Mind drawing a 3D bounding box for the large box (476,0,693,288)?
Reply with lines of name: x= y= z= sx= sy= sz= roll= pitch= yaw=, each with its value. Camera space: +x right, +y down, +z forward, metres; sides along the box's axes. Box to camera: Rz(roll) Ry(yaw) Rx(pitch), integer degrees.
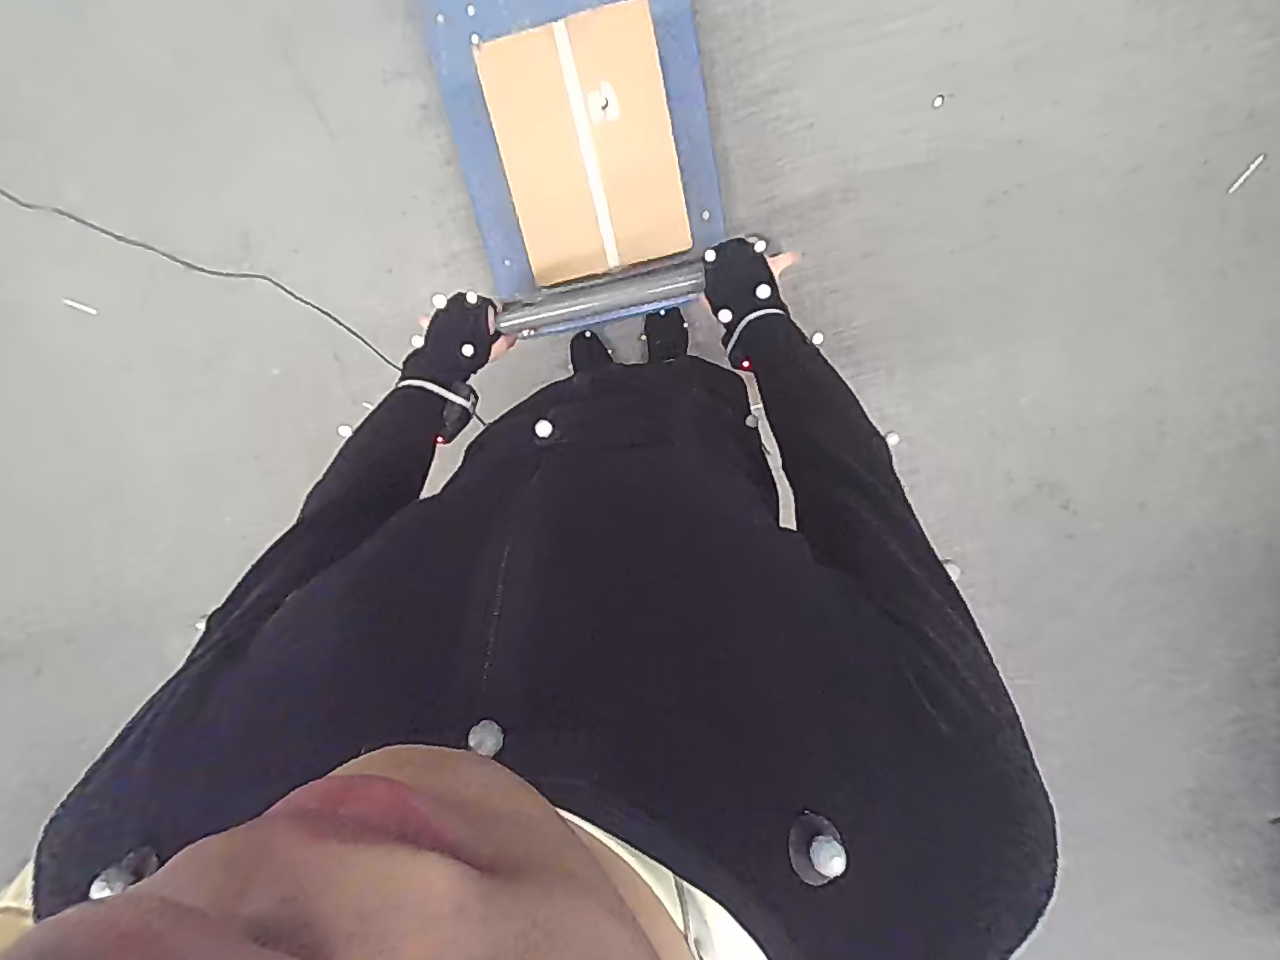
large box: x=-0.088 y=-0.643 z=1.120 sx=0.320 sy=0.320 sz=0.408 roll=-12 pitch=108 yaw=4
